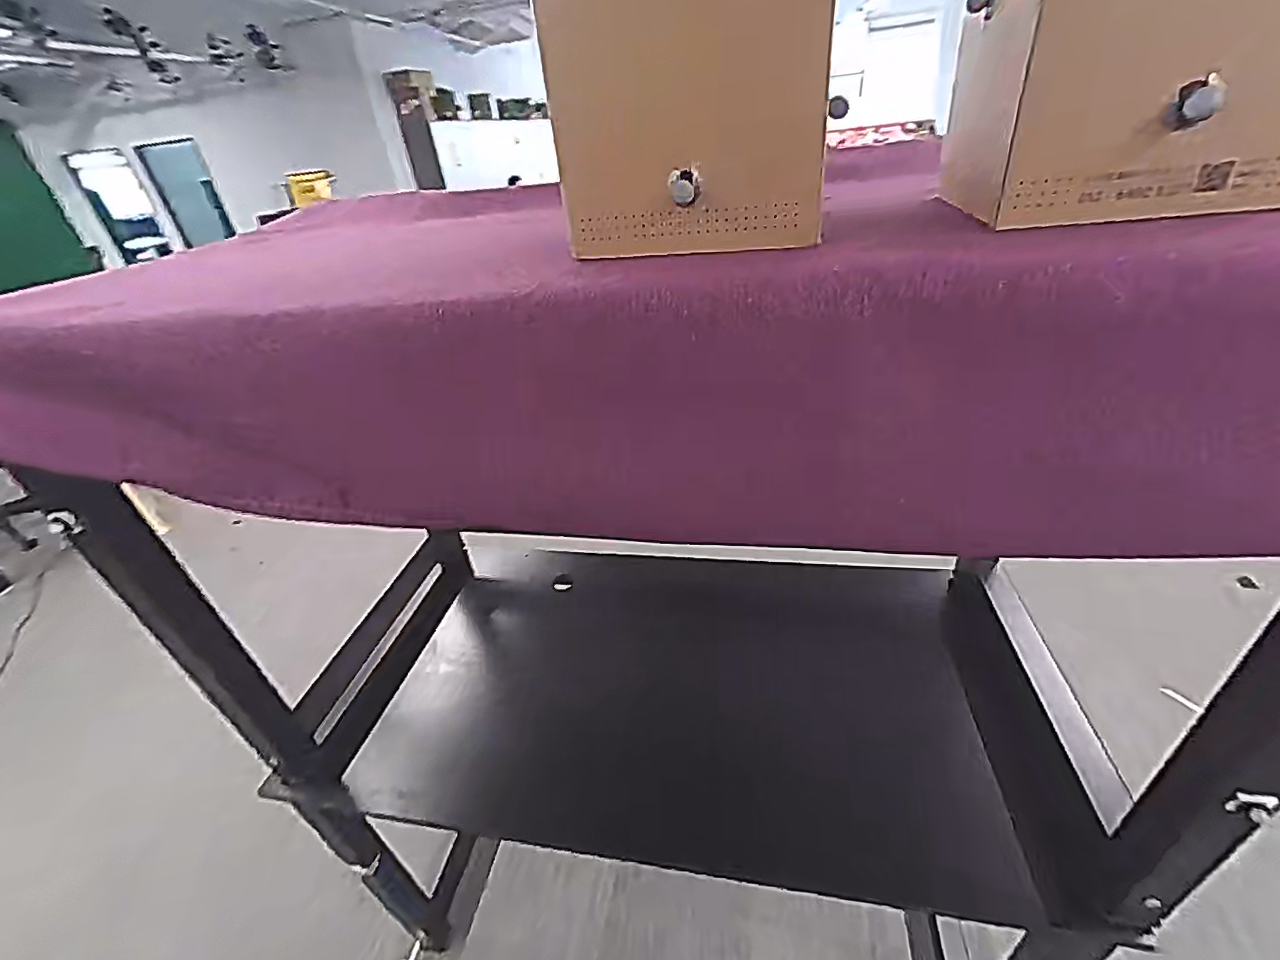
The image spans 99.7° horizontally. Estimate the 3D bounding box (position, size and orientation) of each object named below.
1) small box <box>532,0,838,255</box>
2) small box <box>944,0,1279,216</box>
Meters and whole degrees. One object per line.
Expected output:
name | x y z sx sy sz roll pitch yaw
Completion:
small box | 0.044 -0.269 0.391 0.179 0.176 0.168 3 33 15
small box | 0.308 -0.269 0.337 0.168 0.176 0.179 2 33 15
